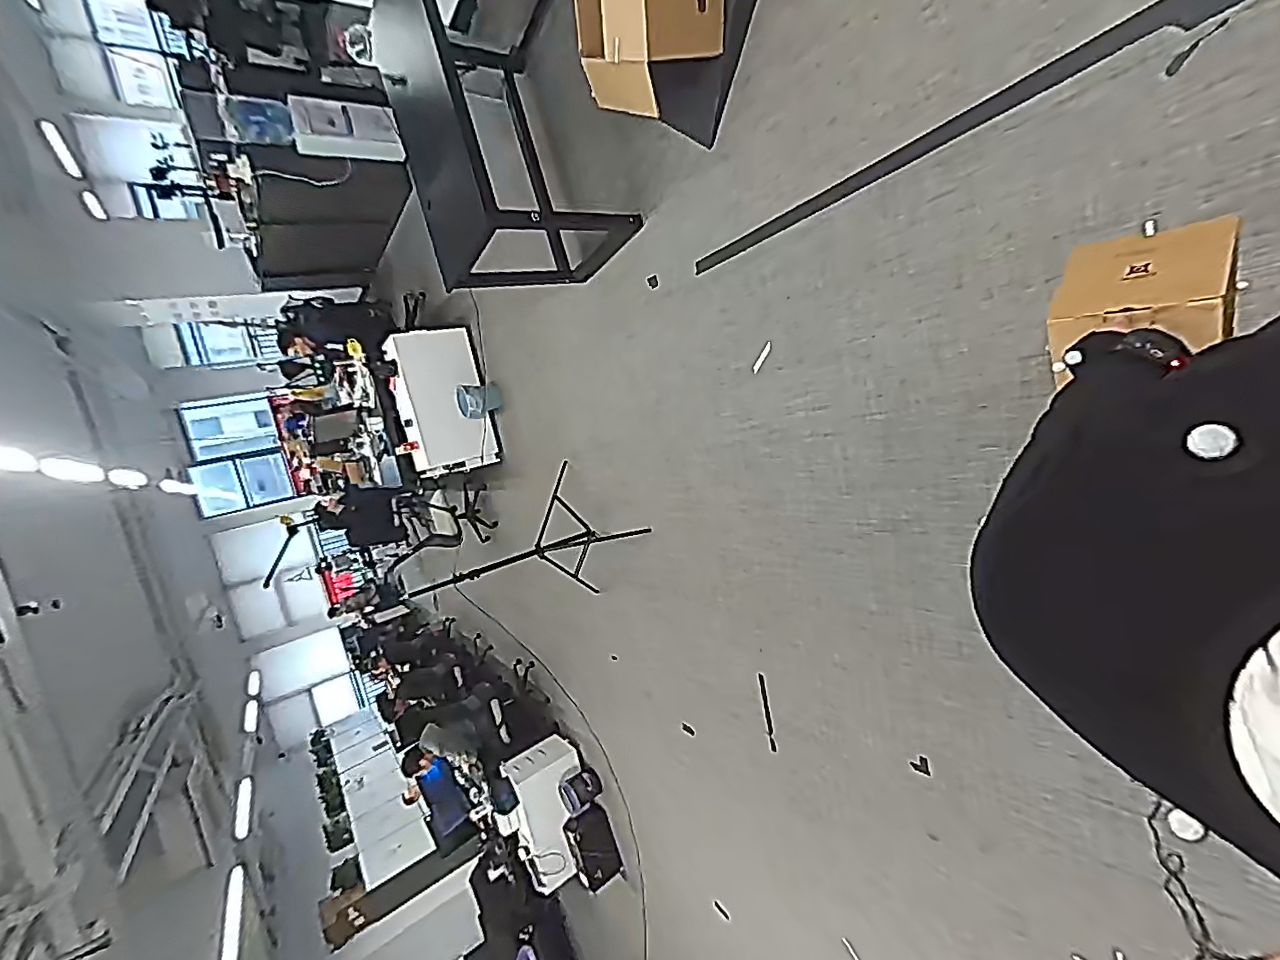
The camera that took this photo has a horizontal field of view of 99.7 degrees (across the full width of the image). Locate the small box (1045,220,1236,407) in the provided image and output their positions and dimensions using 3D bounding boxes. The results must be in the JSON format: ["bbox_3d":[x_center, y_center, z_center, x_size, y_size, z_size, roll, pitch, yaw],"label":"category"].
[{"bbox_3d":[0.687,-0.213,0.742,0.168,0.179,0.176,6,141,49],"label":"small box"}]
